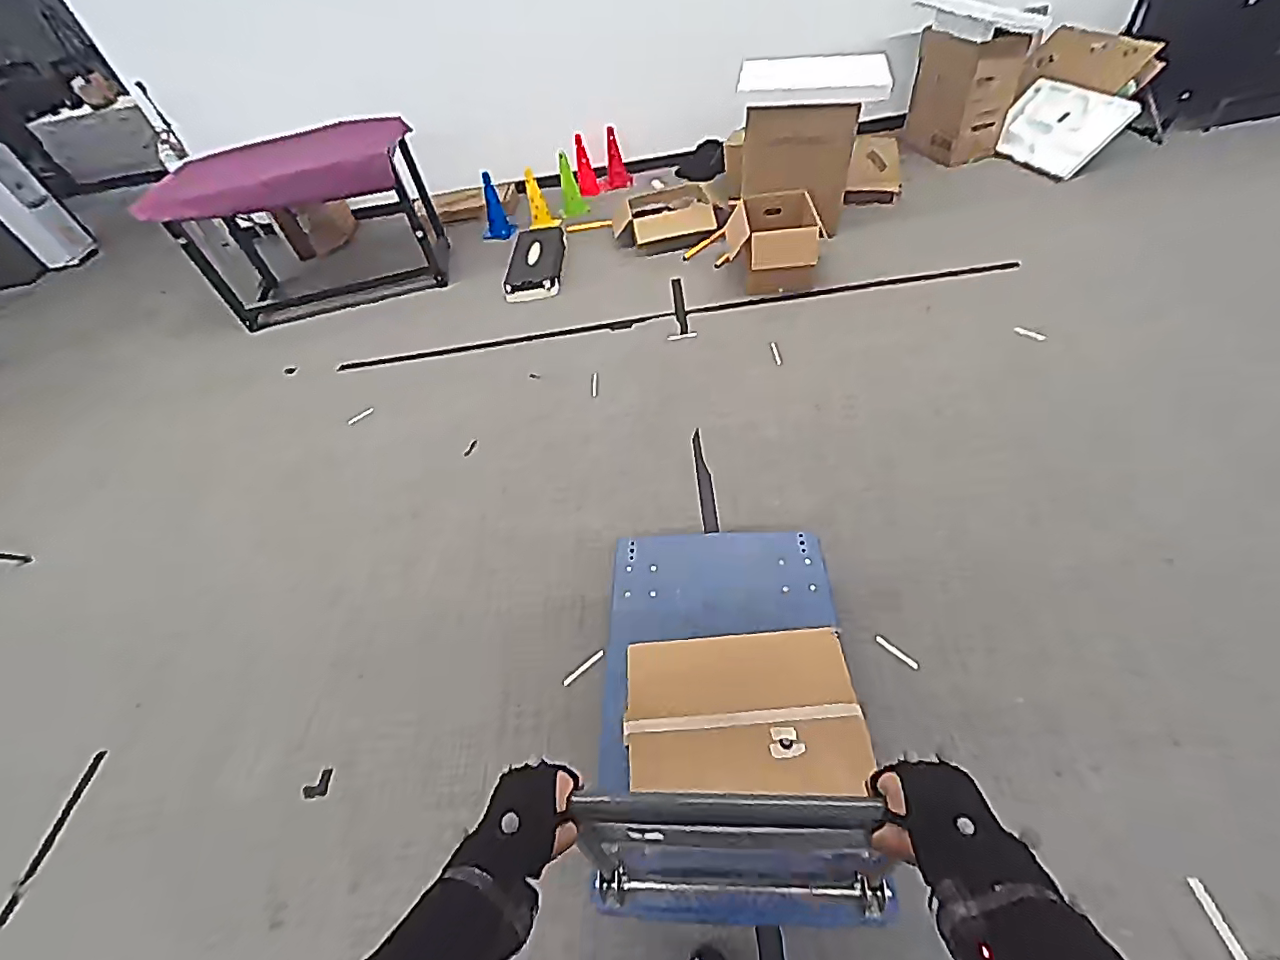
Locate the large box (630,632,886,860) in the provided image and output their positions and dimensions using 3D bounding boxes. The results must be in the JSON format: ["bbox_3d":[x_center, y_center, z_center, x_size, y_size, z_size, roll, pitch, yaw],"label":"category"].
[{"bbox_3d":[0.200,0.528,1.064,0.408,0.320,0.320,-6,49,3],"label":"large box"}]
